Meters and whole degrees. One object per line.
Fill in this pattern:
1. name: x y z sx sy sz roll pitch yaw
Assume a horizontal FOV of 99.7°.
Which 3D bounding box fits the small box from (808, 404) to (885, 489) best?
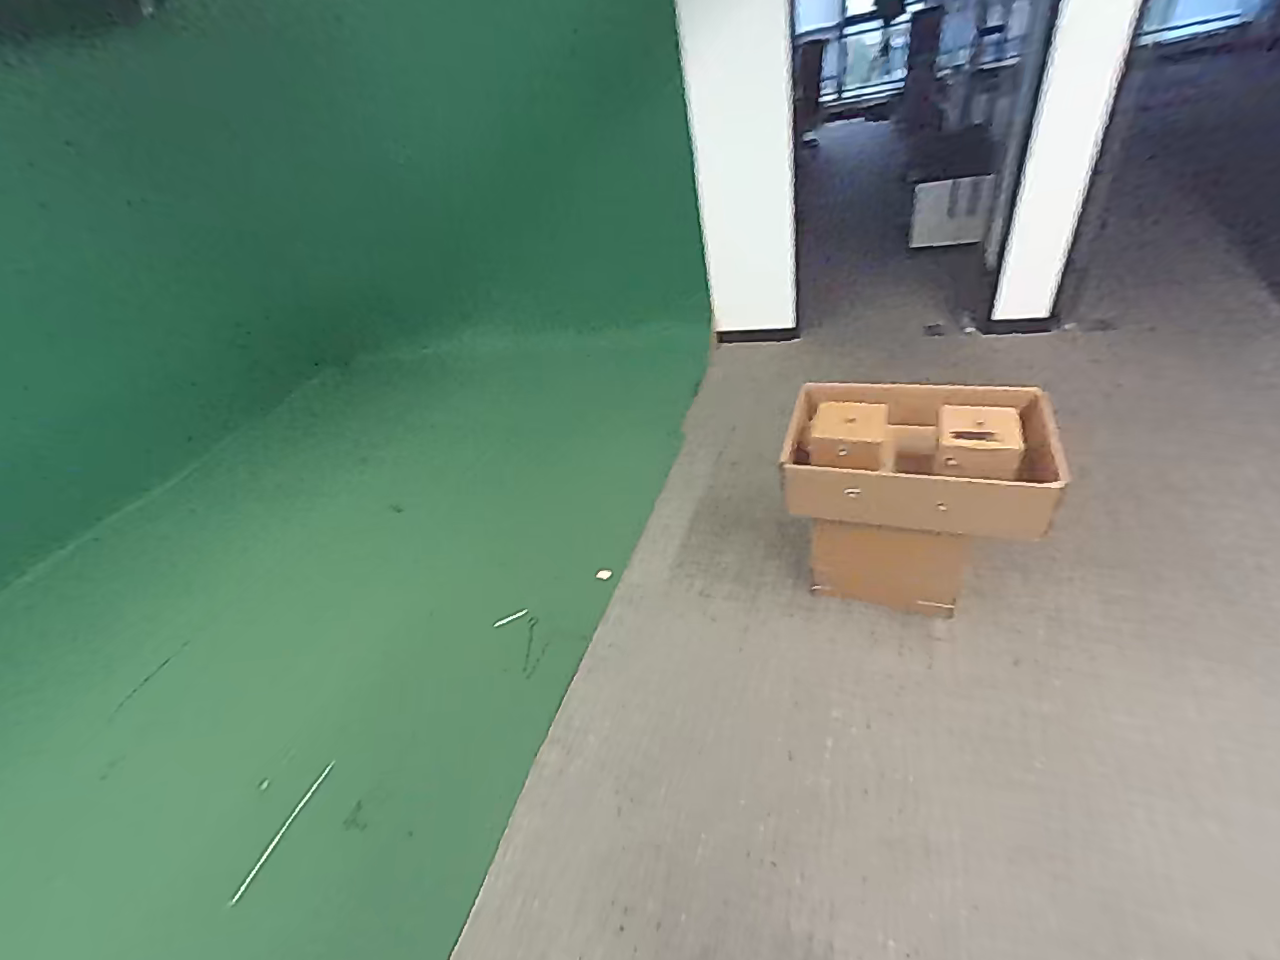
1. small box: 0.565 -0.093 1.483 0.179 0.176 0.168 7 44 24
